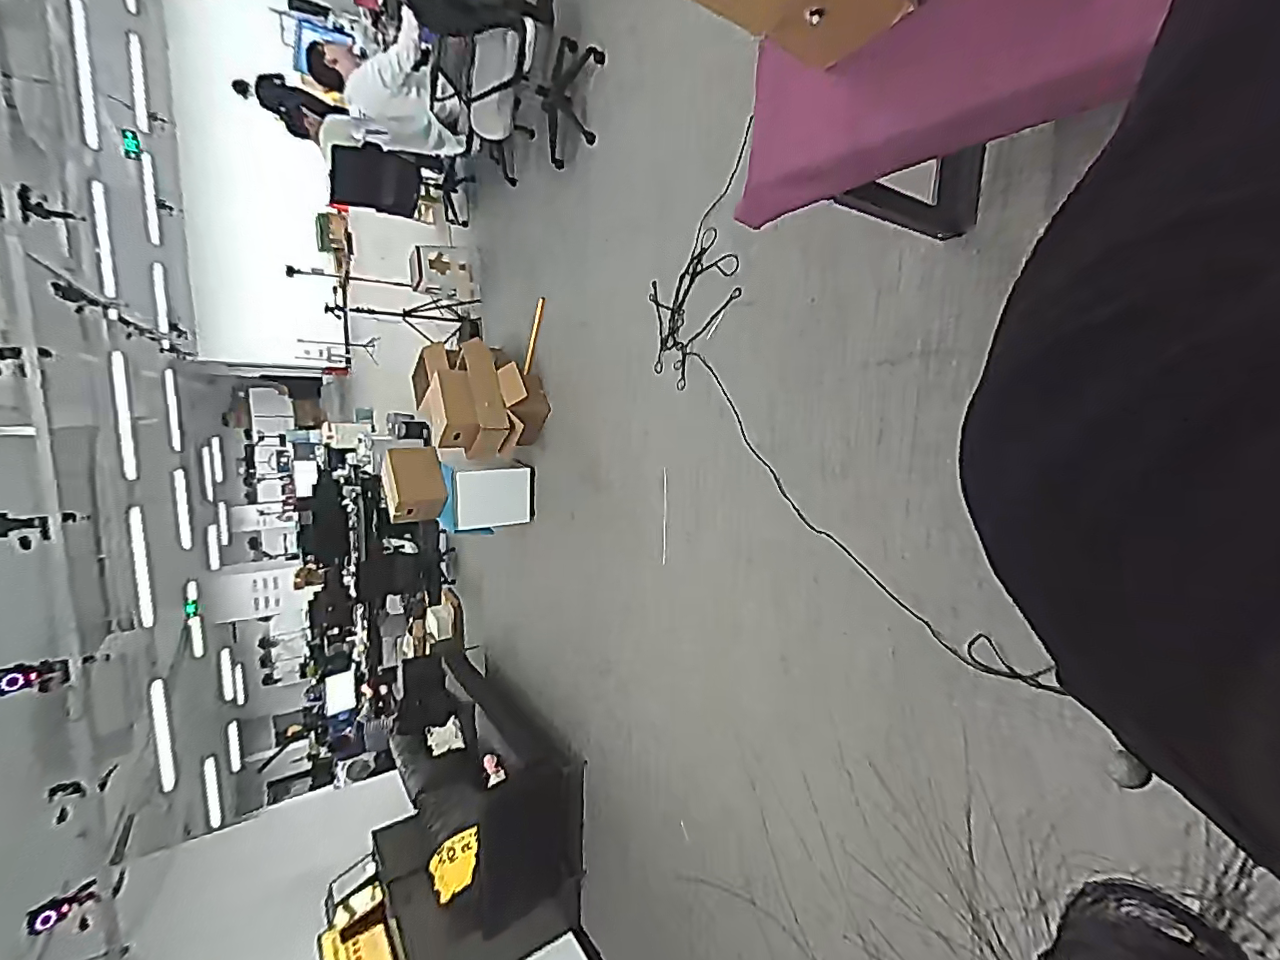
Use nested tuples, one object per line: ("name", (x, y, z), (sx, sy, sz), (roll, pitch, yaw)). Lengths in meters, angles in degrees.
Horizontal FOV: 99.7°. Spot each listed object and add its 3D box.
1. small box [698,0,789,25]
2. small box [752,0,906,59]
("small box", (0.158, -0.766, 0.716), (0.179, 0.176, 0.168), (4, 99, 56))
("small box", (0.289, -0.785, 0.810), (0.179, 0.176, 0.168), (7, 101, 55))
